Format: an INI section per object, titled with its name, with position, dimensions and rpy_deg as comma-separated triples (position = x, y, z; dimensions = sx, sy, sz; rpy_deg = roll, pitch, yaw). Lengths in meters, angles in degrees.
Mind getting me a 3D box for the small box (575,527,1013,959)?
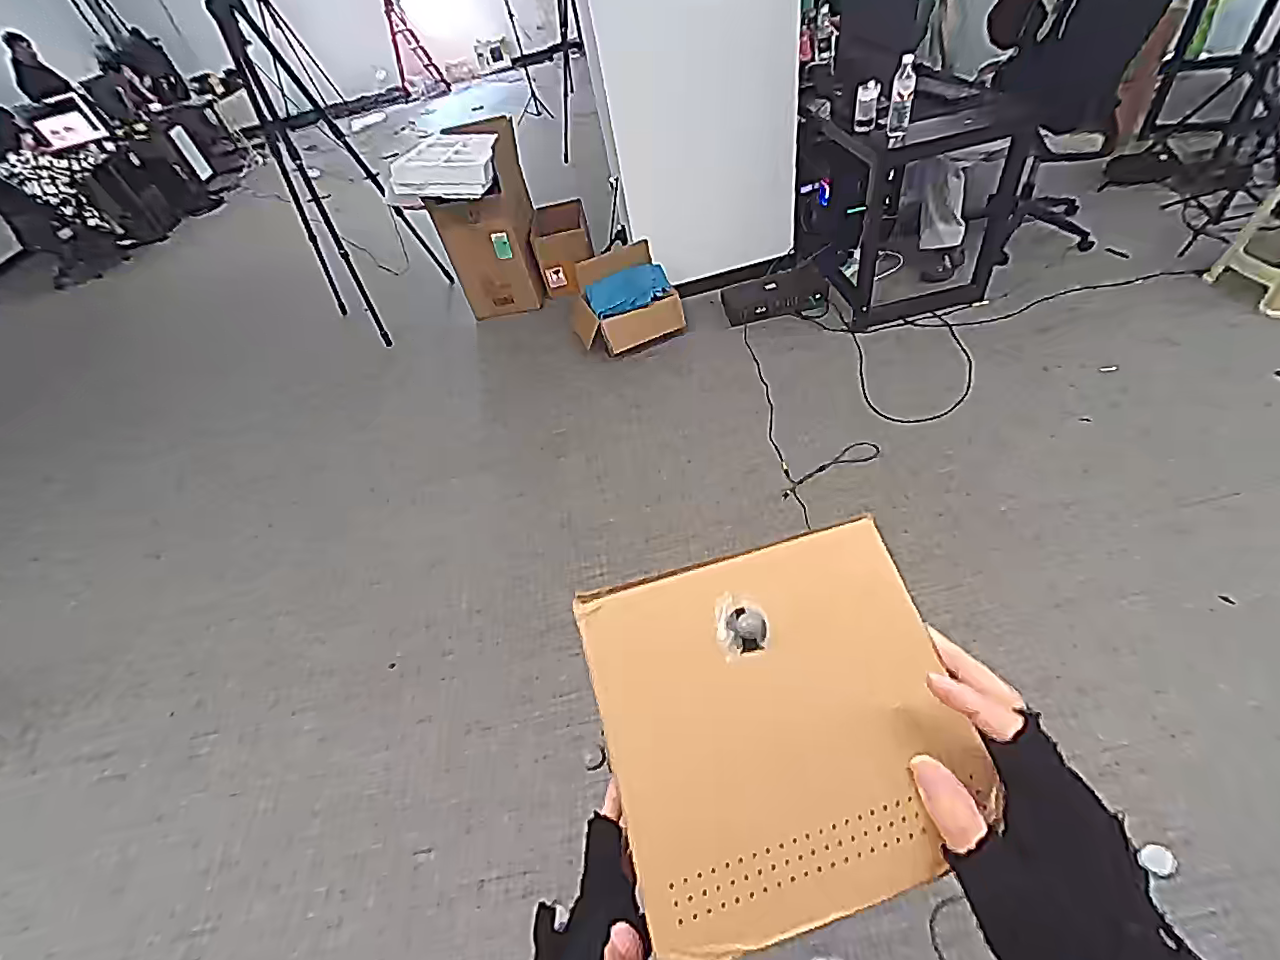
[small box]
position = 0.071, 0.153, 0.335
dimensions = 0.179, 0.168, 0.176
rpy_deg = -15, 67, -7
